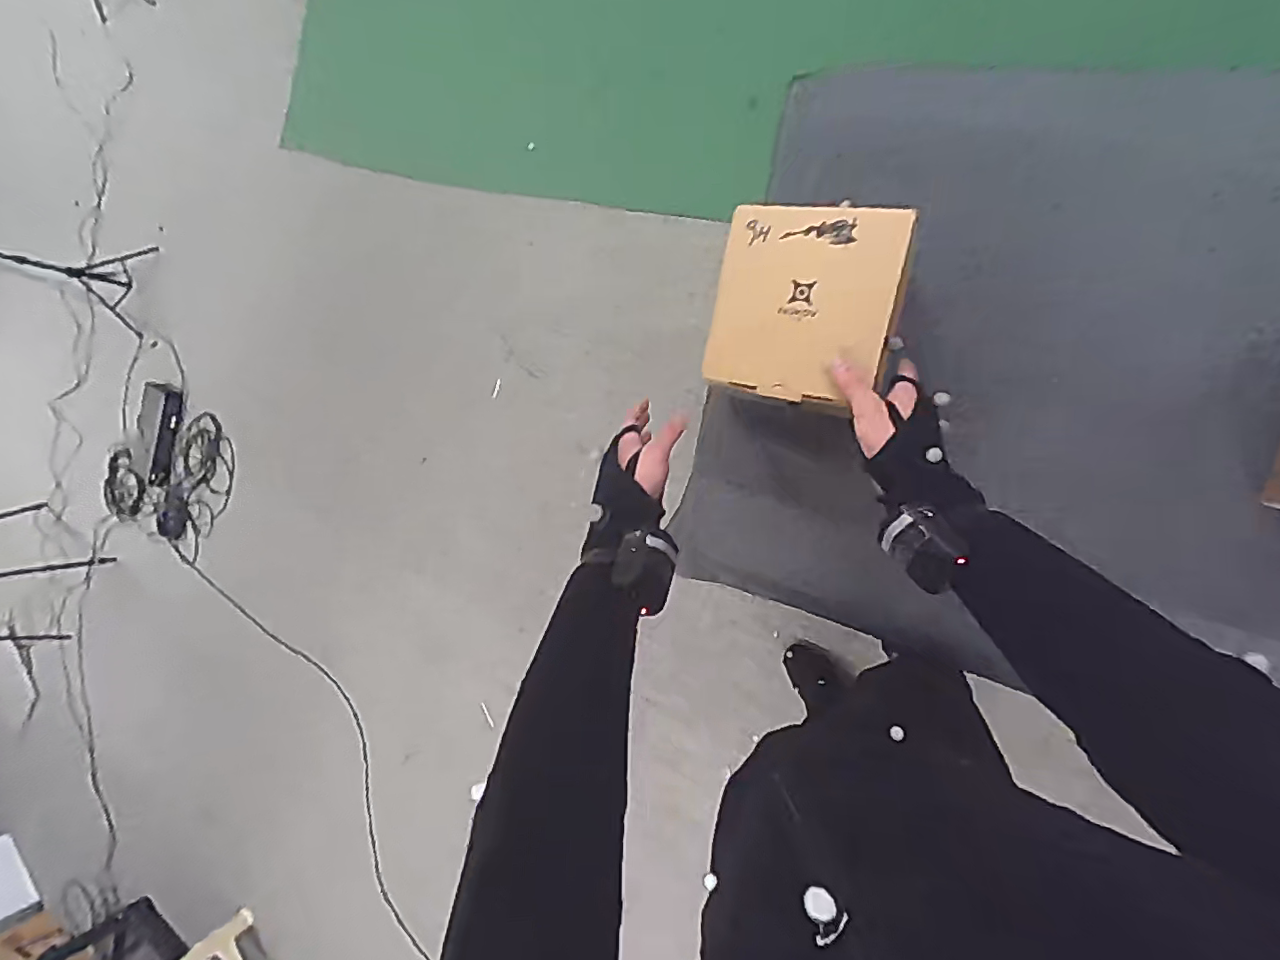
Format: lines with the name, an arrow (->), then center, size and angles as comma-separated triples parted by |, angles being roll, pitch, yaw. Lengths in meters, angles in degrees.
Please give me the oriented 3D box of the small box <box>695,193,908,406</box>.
small box -> 0.177, -0.181, 0.580 | 0.168, 0.176, 0.179 | 15, 99, 23
